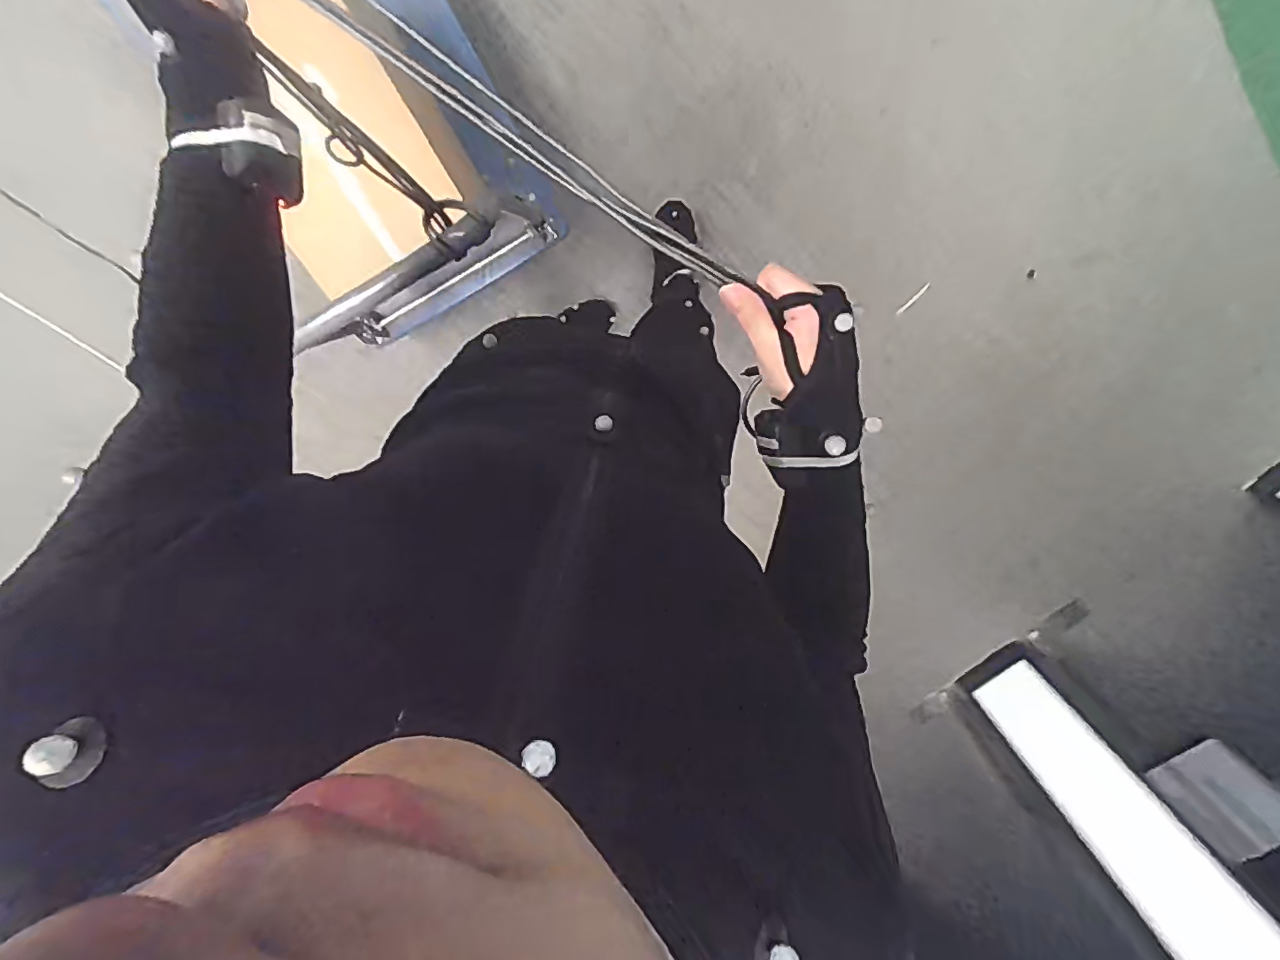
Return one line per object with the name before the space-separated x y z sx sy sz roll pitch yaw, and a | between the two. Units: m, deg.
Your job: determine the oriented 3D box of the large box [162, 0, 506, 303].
large box | -0.511 -0.604 1.012 0.320 0.320 0.408 -27 115 9
